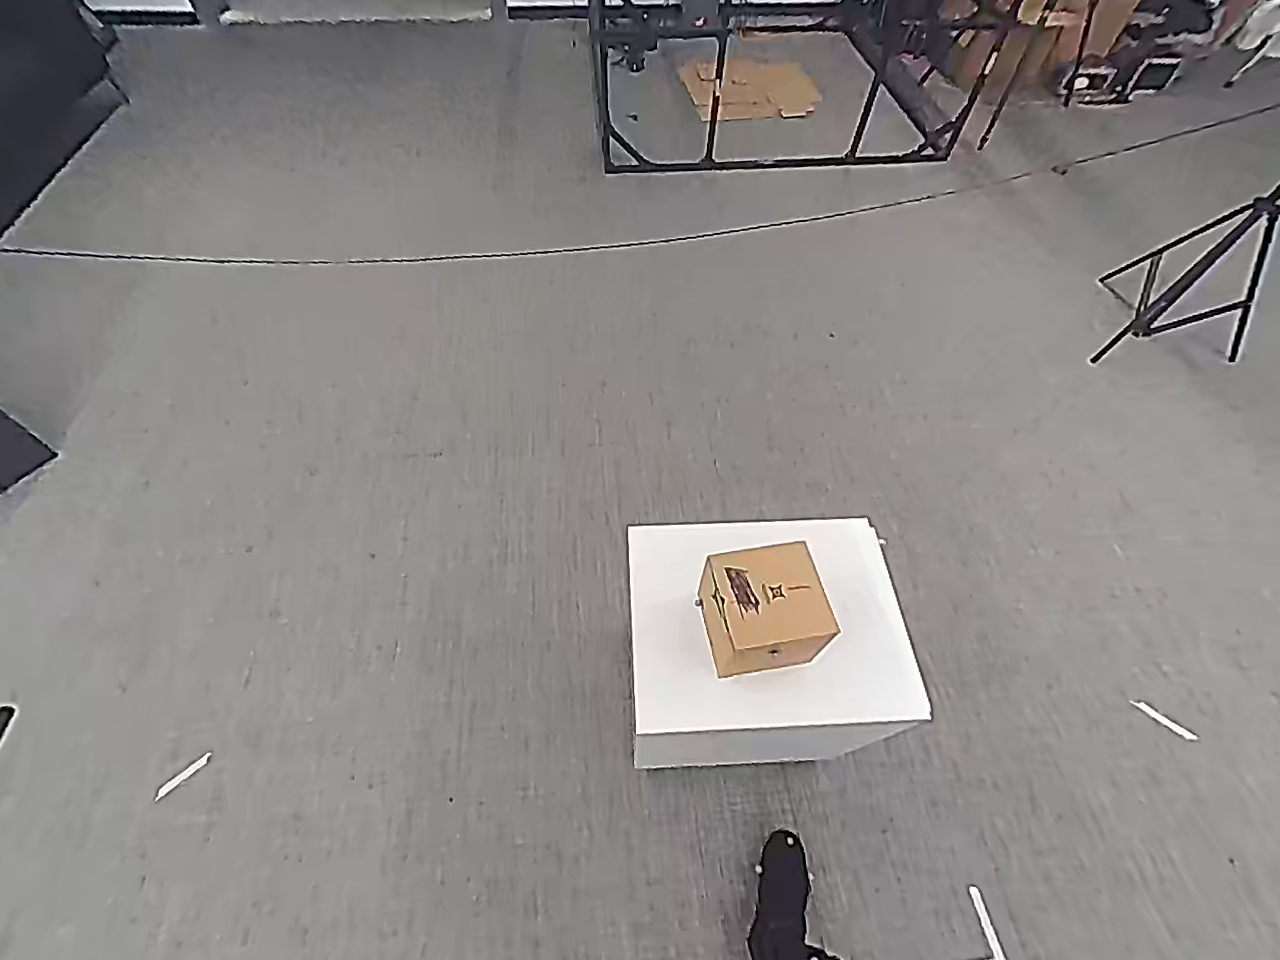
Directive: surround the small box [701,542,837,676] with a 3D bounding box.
[{"bbox_3d":[0.209,0.229,0.942,0.179,0.176,0.168,-7,57,-7],"label":"small box"}]
